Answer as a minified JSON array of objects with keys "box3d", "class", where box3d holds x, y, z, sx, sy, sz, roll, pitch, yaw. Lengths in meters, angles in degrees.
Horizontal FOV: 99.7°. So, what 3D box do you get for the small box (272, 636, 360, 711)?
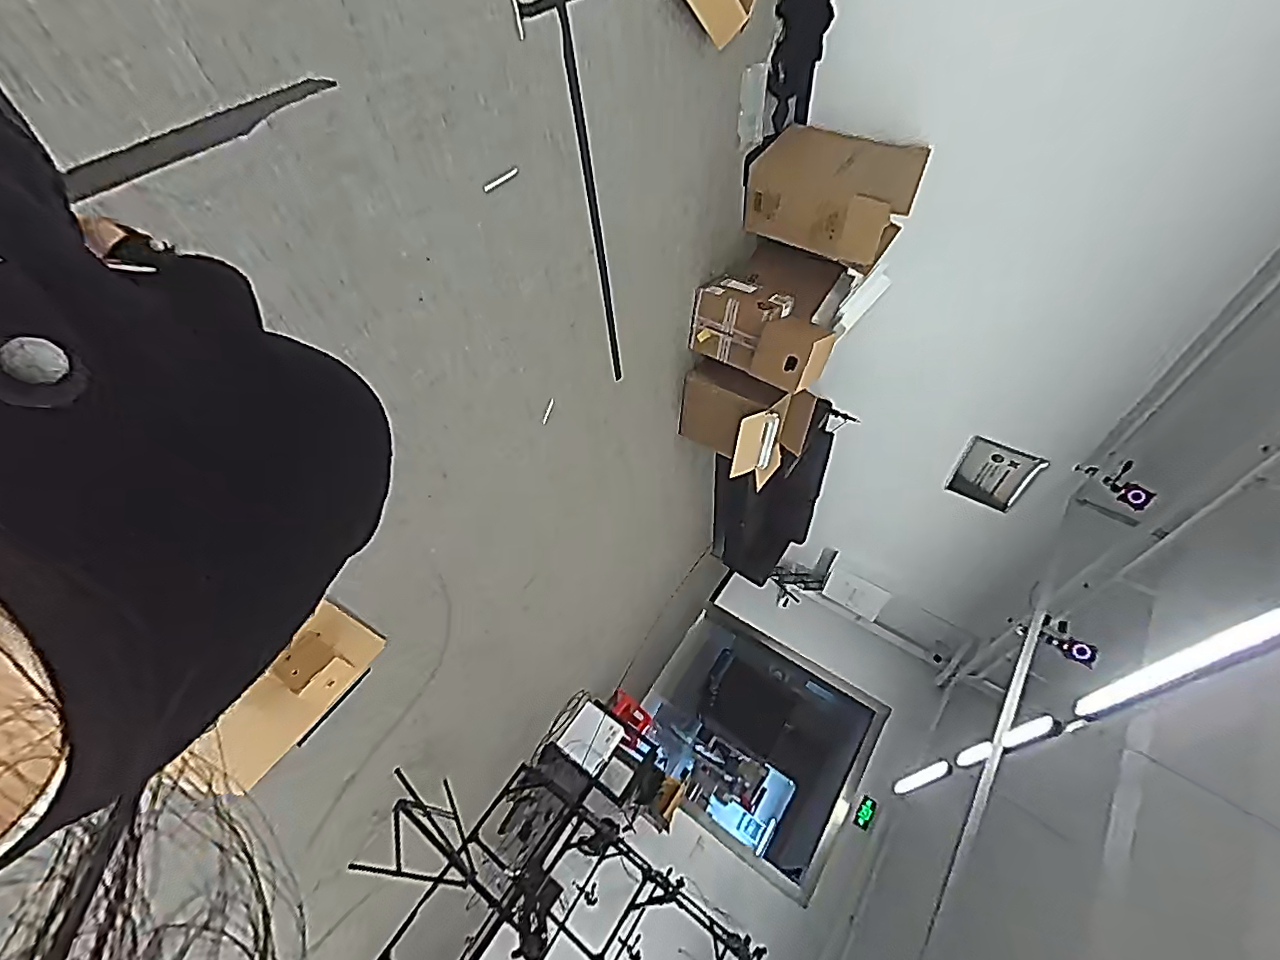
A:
[{"box3d":[-1.148,0.678,1.912,0.168,0.176,0.179,-49,153,-25],"class":"small box"}]
